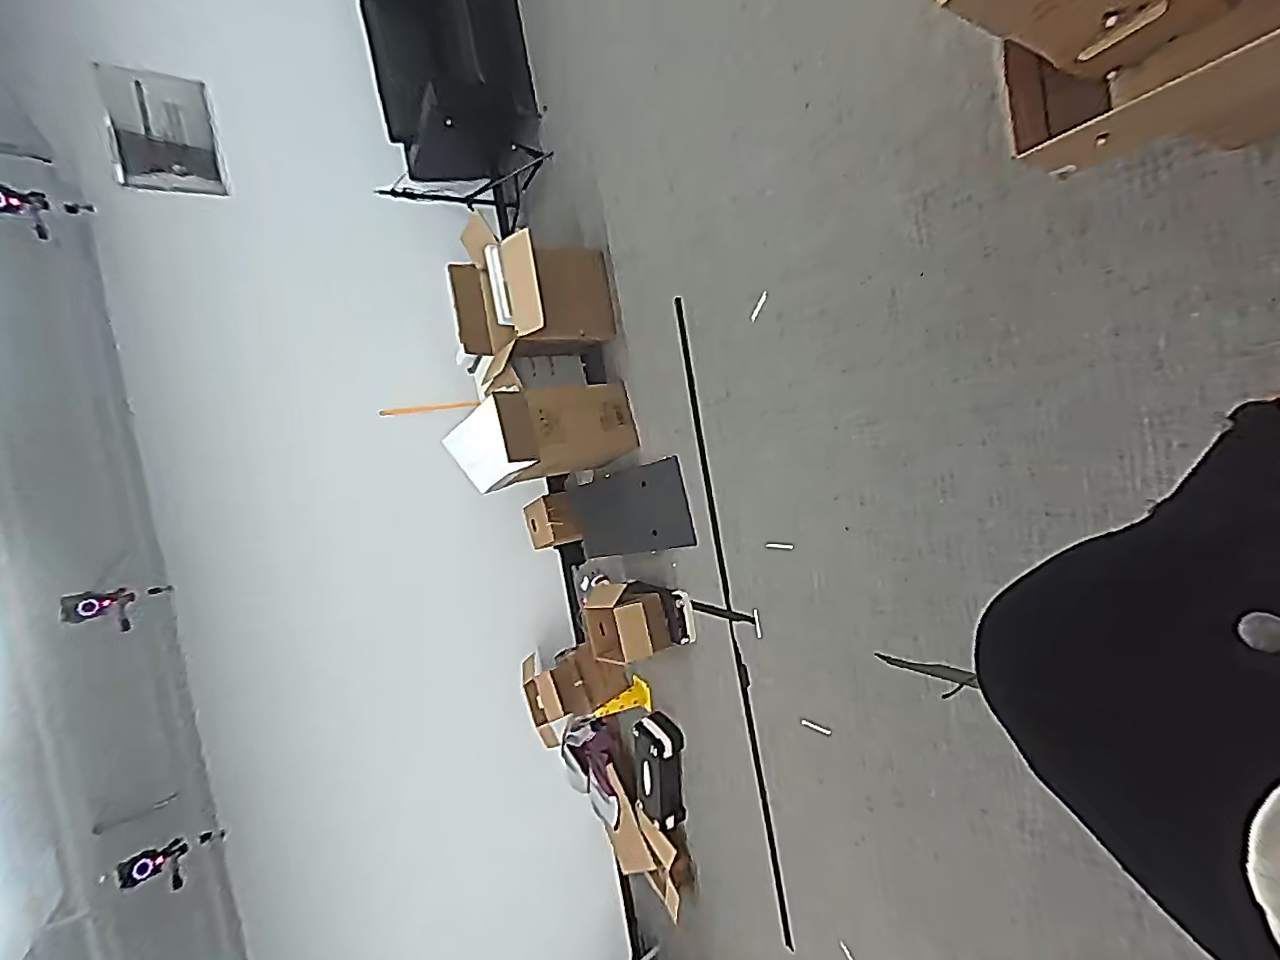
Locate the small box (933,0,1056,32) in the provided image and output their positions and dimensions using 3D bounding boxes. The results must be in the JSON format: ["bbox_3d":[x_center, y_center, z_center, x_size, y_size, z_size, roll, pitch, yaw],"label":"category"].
[{"bbox_3d":[0.467,-0.701,0.653,0.168,0.176,0.179,-9,91,61],"label":"small box"}]

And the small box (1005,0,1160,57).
[{"bbox_3d":[0.610,-0.728,0.732,0.168,0.176,0.179,-9,93,59],"label":"small box"}]
